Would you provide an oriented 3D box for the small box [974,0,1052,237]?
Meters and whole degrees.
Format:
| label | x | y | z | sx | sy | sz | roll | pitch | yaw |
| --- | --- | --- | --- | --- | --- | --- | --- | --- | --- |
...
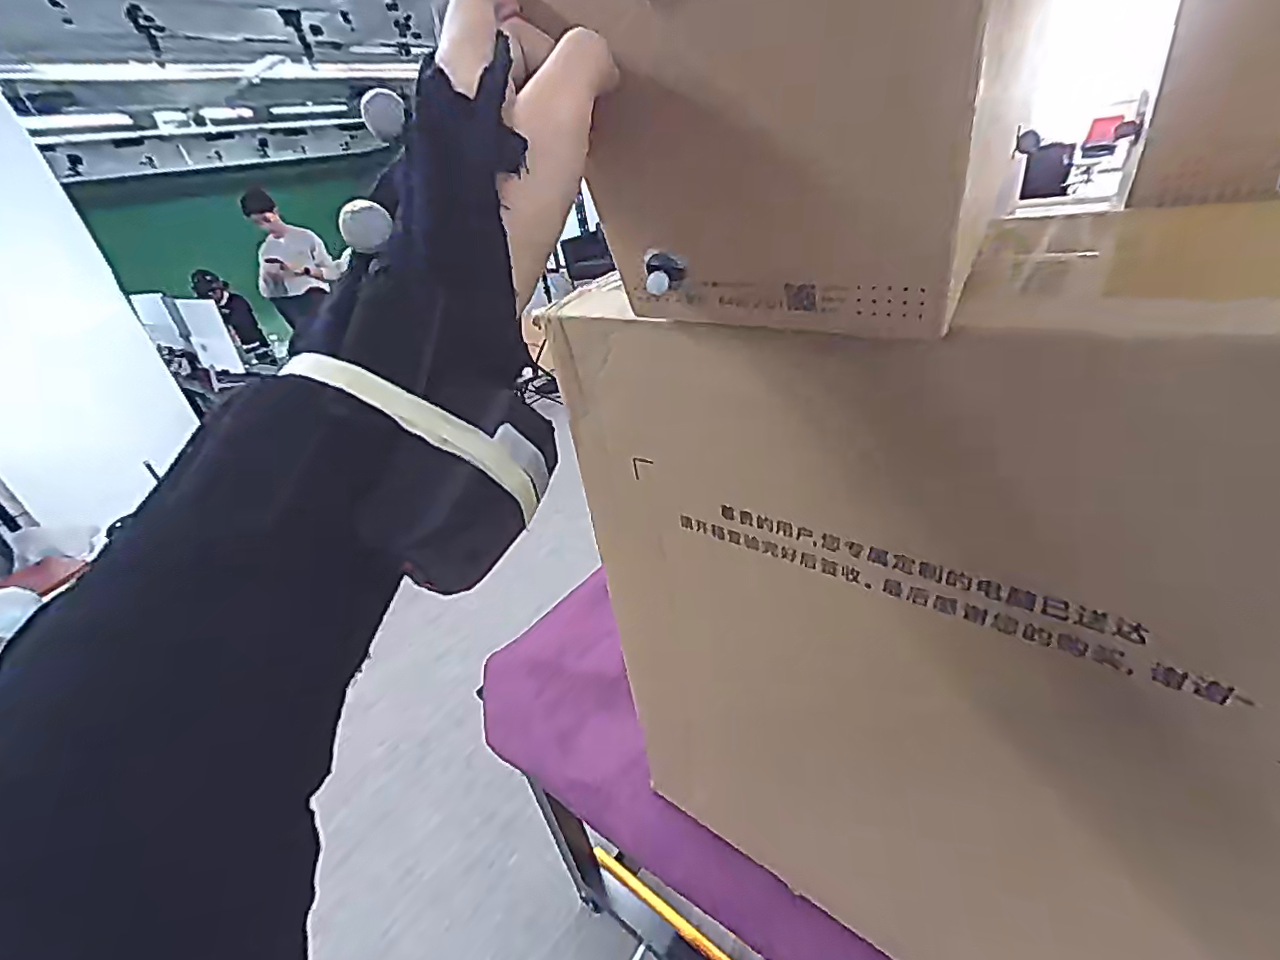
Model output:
| label | x | y | z | sx | sy | sz | roll | pitch | yaw |
| --- | --- | --- | --- | --- | --- | --- | --- | --- | --- |
| small box | 0.207 | -0.292 | 0.444 | 0.179 | 0.176 | 0.168 | 16 | 40 | 36 |

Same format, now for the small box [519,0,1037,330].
| label | x | y | z | sx | sy | sz | roll | pitch | yaw |
| --- | --- | --- | --- | --- | --- | --- | --- | --- | --- |
| small box | 0.080 | -0.192 | 0.257 | 0.168 | 0.176 | 0.179 | 15 | 58 | 31 |

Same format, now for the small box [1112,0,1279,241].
| label | x | y | z | sx | sy | sz | roll | pitch | yaw |
| --- | --- | --- | --- | --- | --- | --- | --- | --- | --- |
| small box | 0.404 | -0.246 | 0.308 | 0.179 | 0.176 | 0.168 | 10 | 35 | 34 |
